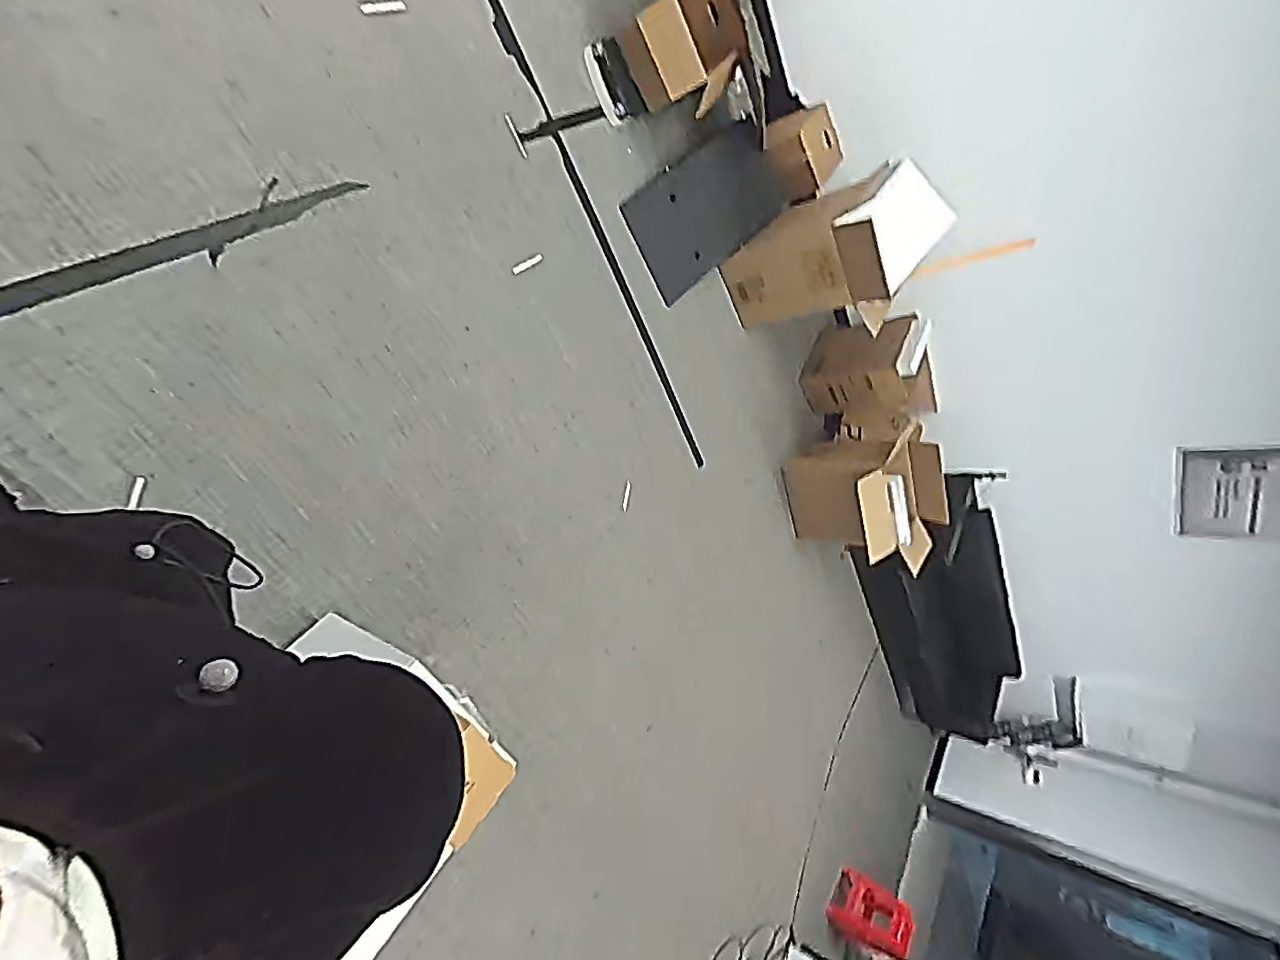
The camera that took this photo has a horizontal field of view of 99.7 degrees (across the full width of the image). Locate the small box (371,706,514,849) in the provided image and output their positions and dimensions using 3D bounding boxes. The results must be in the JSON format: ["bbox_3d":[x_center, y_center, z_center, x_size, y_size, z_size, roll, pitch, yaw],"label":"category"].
[{"bbox_3d":[-0.393,0.576,1.073,0.168,0.176,0.179,-47,124,-35],"label":"small box"}]
